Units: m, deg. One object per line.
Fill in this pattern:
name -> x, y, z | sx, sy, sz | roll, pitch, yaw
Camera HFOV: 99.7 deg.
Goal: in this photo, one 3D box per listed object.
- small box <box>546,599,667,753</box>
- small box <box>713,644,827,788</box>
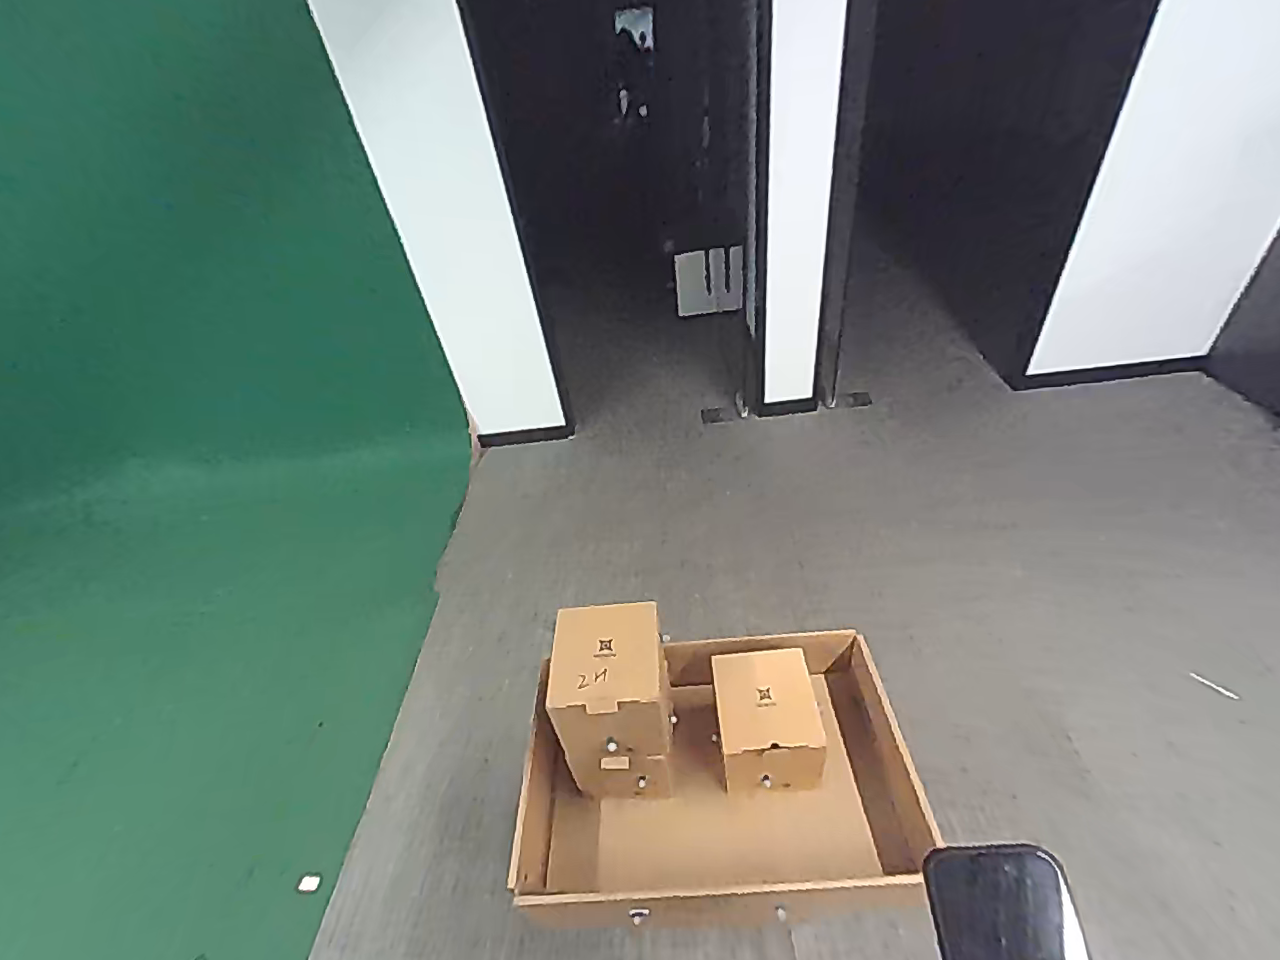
small box -> -0.045, 0.318, 0.879 | 0.168, 0.176, 0.179 | -6, 40, 5
small box -> 0.222, 0.419, 0.962 | 0.168, 0.176, 0.179 | -7, 41, 5
